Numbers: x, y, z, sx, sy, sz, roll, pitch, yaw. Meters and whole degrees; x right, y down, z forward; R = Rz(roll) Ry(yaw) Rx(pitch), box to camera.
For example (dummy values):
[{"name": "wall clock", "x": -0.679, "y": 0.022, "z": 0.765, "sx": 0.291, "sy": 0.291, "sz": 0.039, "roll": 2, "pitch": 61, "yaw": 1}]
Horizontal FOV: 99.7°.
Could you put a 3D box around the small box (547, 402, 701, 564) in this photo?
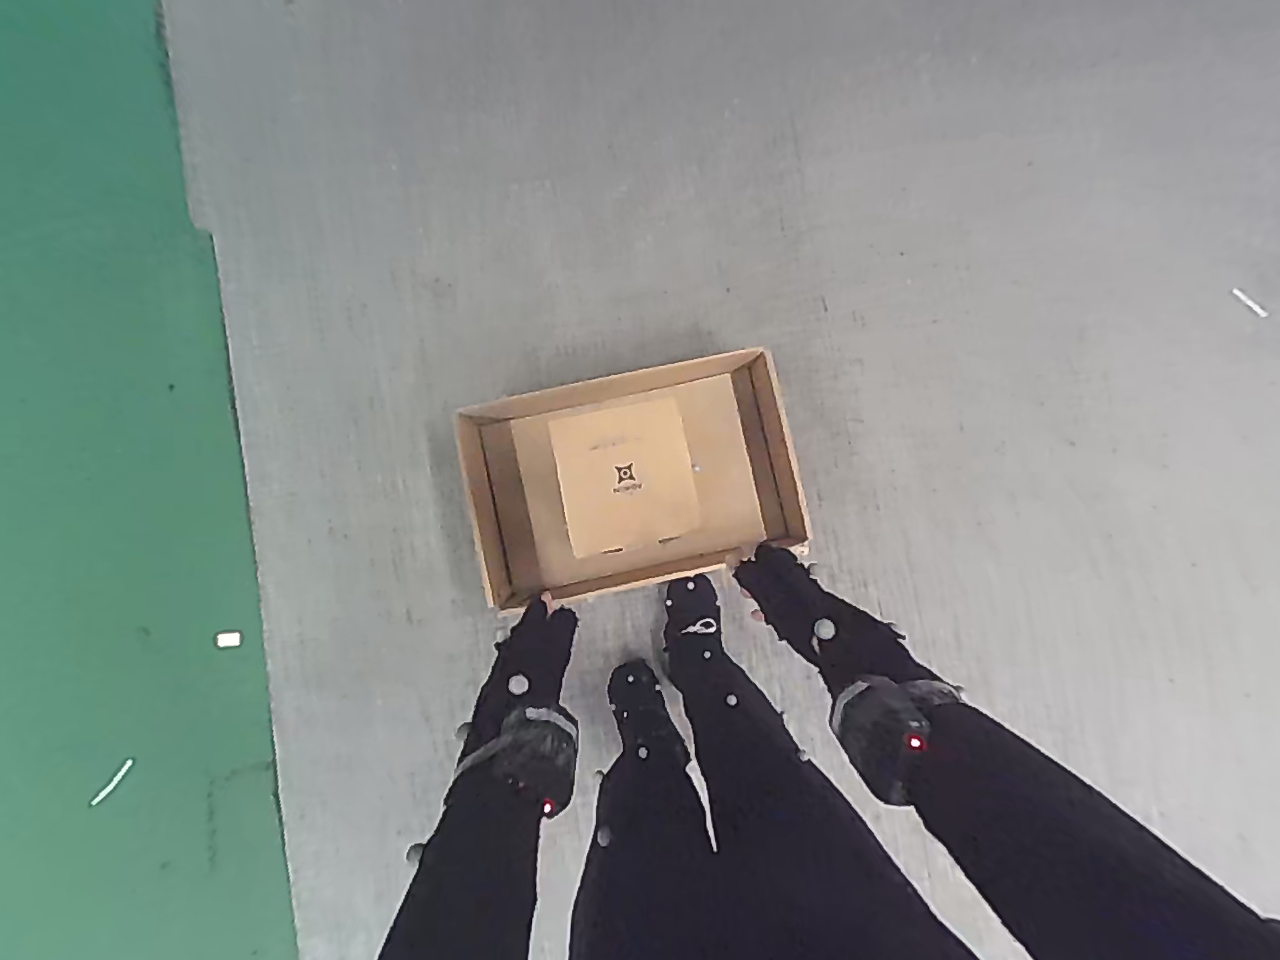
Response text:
[{"name": "small box", "x": -0.020, "y": 0.007, "z": 0.744, "sx": 0.168, "sy": 0.176, "sz": 0.179, "roll": -12, "pitch": 86, "yaw": -2}]
